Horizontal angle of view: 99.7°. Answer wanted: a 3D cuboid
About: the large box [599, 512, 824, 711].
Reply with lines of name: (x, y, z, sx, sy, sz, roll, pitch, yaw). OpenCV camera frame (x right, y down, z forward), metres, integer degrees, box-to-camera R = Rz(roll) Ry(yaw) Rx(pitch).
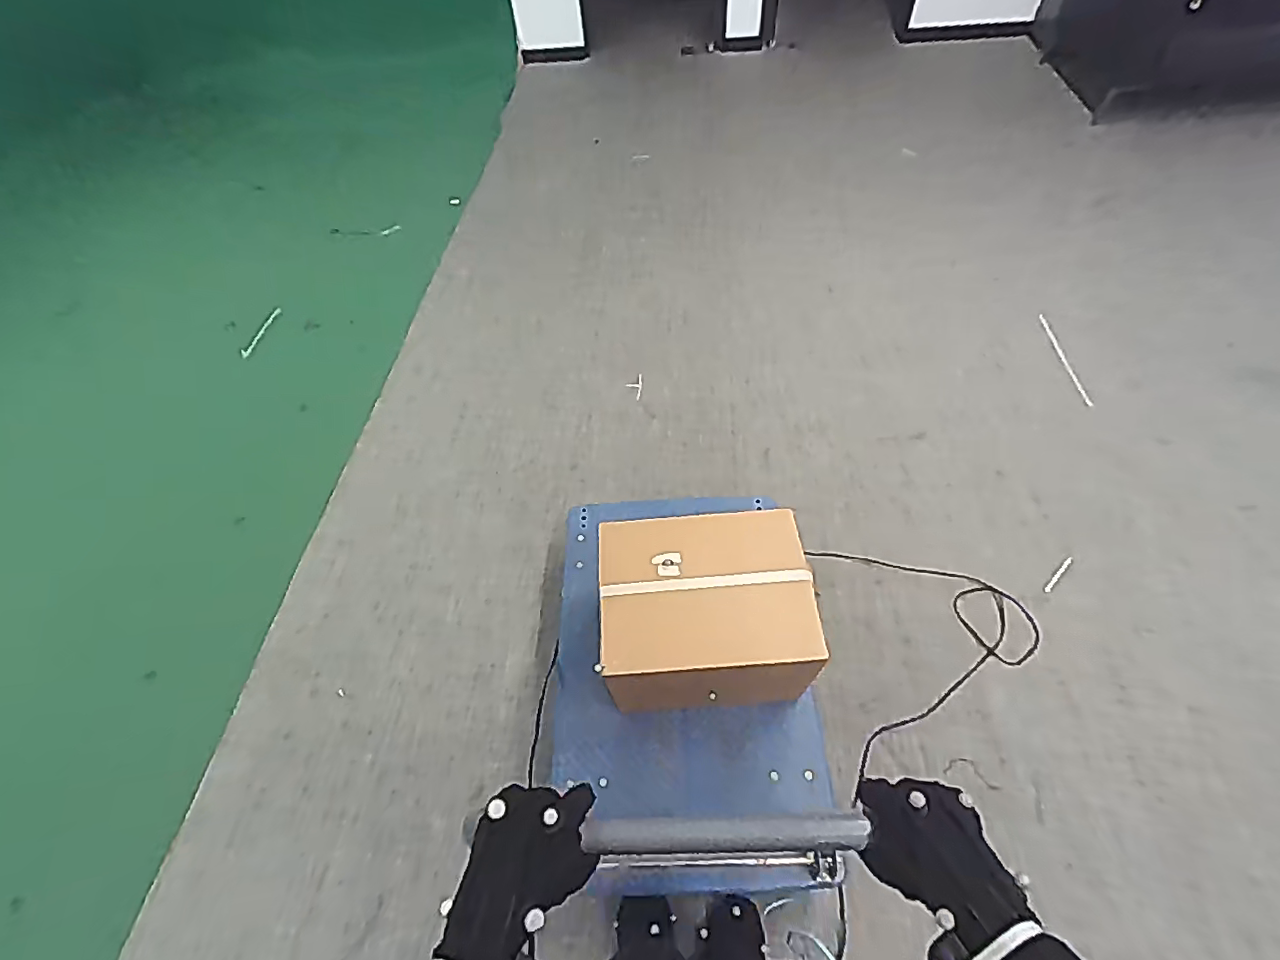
large box: (0.136, 0.296, 1.169, 0.408, 0.320, 0.320, -6, 55, 3)
